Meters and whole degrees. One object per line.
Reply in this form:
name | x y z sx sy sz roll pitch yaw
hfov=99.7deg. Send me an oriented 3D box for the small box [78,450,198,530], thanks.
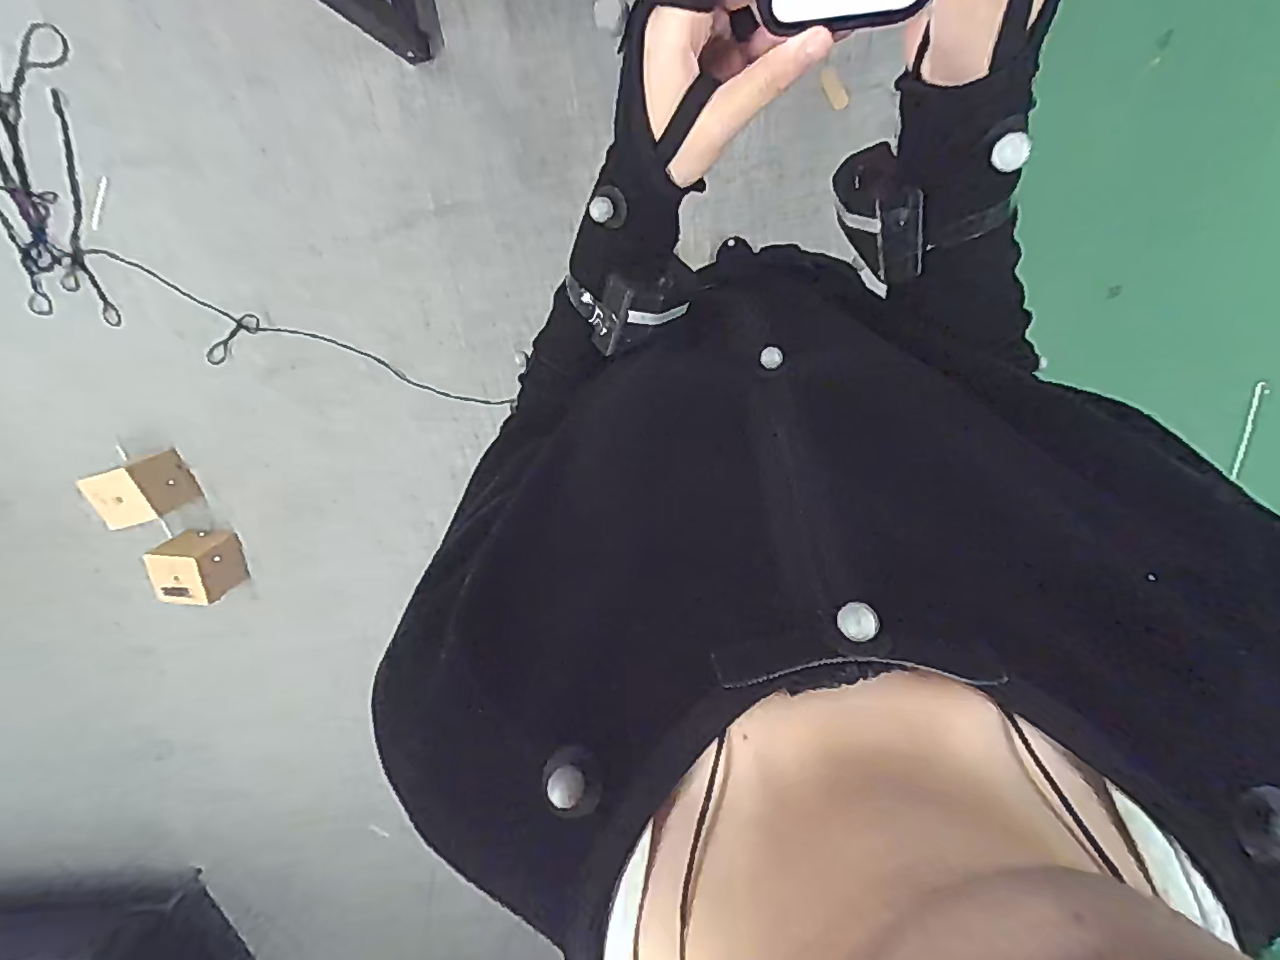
small box | -1.476 0.024 1.611 0.179 0.176 0.168 -13 111 10
